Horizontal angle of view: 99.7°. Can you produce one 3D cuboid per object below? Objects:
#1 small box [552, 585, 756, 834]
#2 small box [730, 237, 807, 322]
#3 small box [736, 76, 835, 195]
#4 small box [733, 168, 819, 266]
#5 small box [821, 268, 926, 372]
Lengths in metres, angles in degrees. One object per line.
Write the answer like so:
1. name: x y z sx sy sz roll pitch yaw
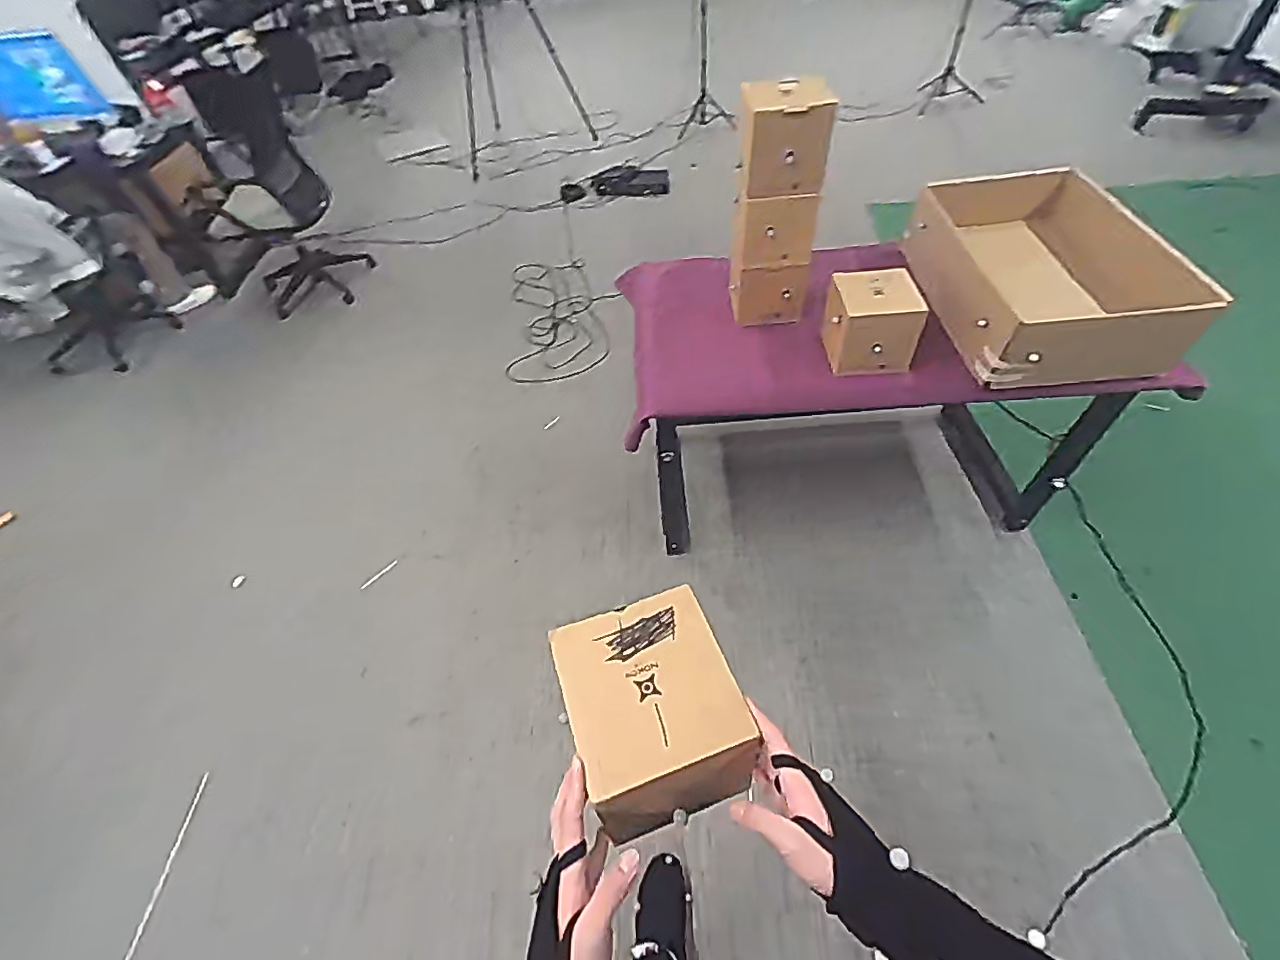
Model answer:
1. small box: 0.012 0.253 0.600 0.168 0.176 0.179 -17 46 -9
2. small box: 0.328 -0.527 1.410 0.168 0.176 0.179 -3 51 3
3. small box: 0.301 -0.729 1.155 0.168 0.176 0.179 -3 52 2
4. small box: 0.314 -0.624 1.281 0.168 0.176 0.179 -3 51 3
5. small box: 0.530 -0.365 1.255 0.168 0.176 0.179 -2 51 4
